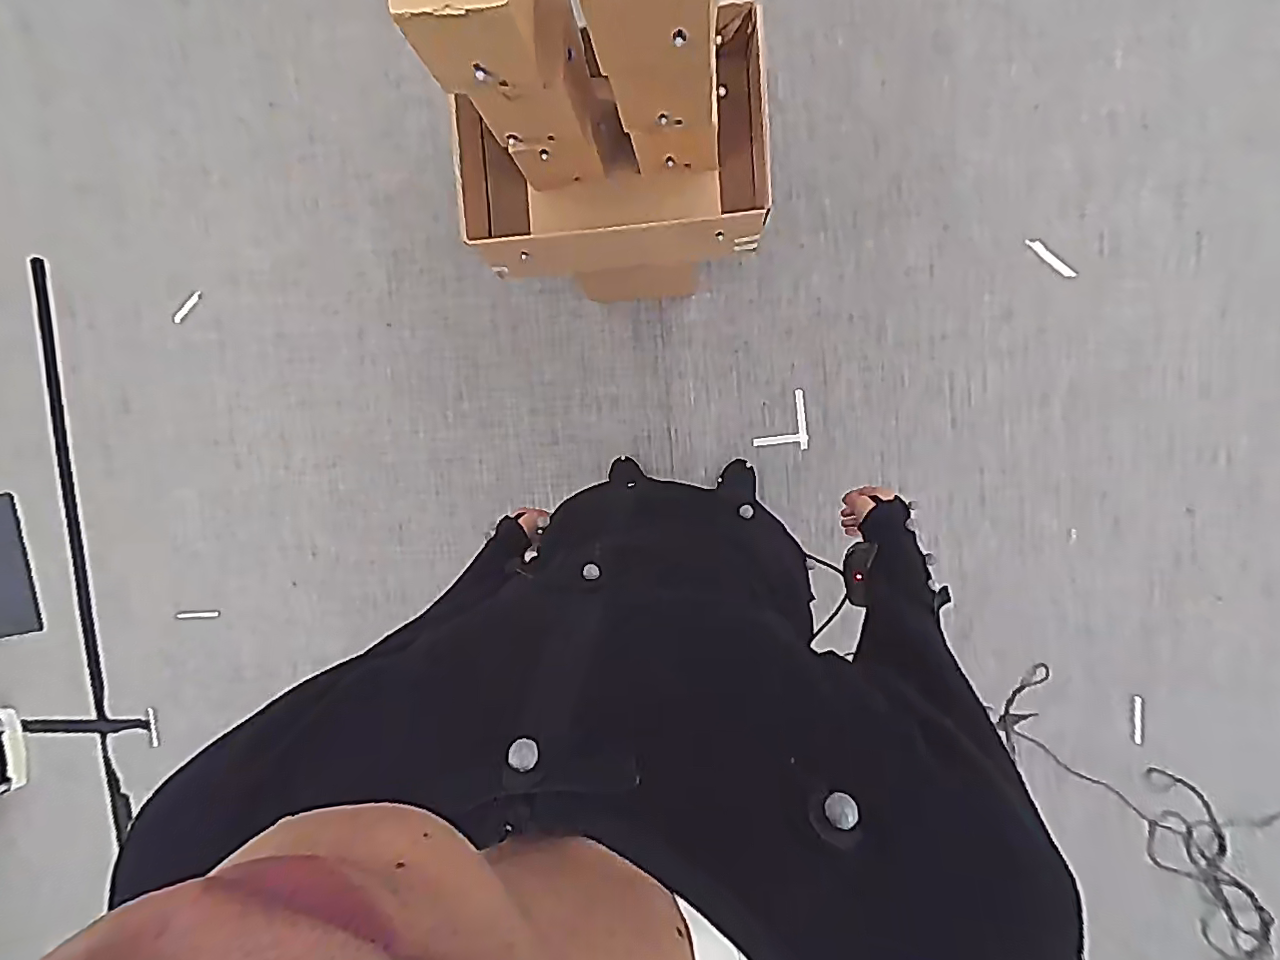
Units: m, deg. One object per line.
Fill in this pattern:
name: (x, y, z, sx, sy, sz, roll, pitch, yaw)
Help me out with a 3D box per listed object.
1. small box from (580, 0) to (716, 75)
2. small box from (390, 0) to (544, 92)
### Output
small box: (0.021, -0.706, 0.758, 0.179, 0.176, 0.168, 6, 96, 7)
small box: (-0.240, -0.707, 0.783, 0.168, 0.176, 0.179, 1, 95, 5)
